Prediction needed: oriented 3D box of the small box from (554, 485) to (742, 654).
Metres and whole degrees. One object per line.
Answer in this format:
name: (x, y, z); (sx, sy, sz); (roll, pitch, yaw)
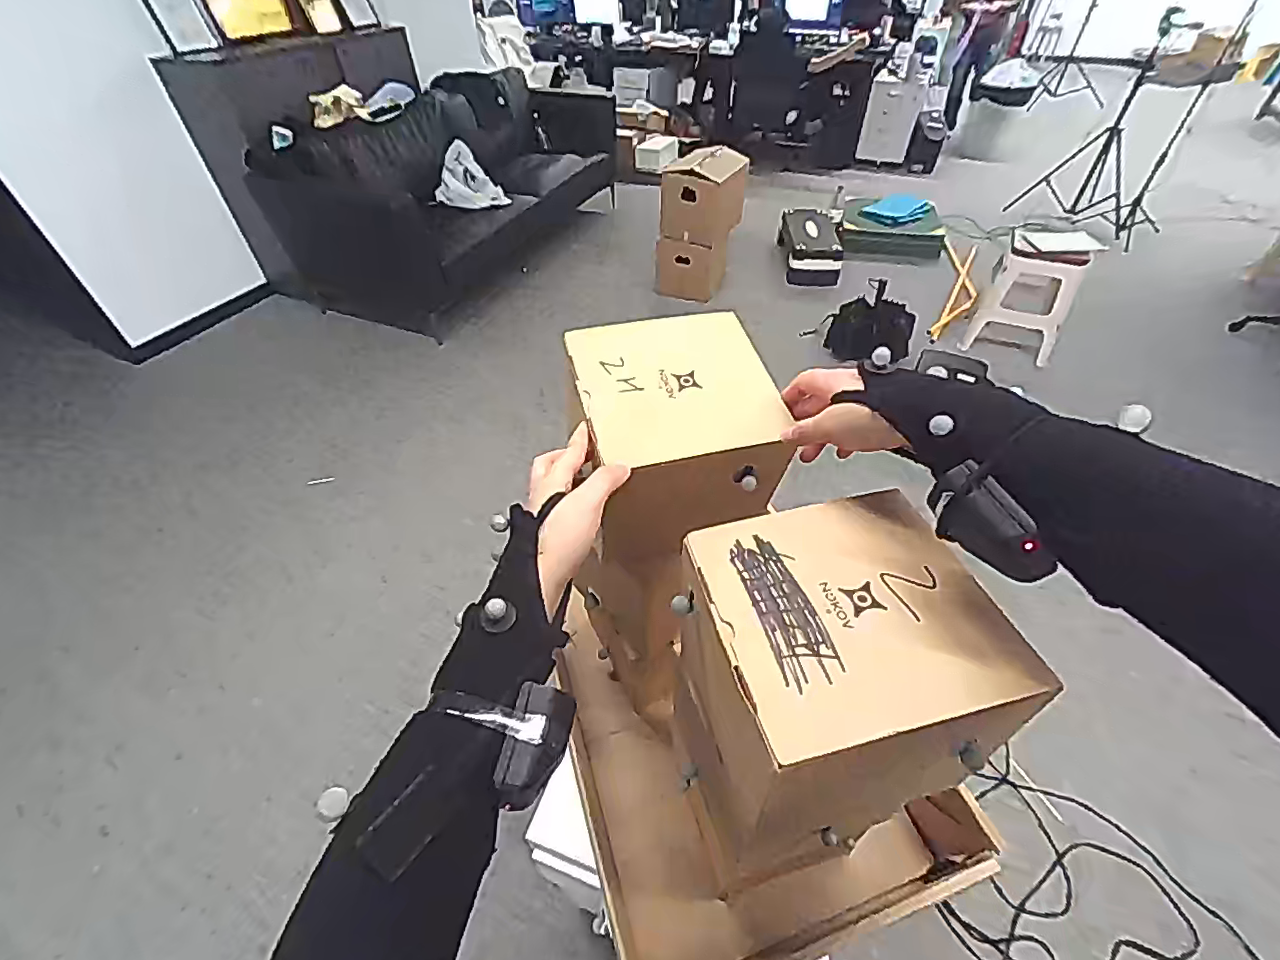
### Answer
small box: (0.015, 0.086, 0.705); (0.179, 0.176, 0.168); (-36, 53, -26)

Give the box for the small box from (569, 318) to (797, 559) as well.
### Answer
small box: (0.029, -0.039, 0.559); (0.179, 0.176, 0.168); (-11, 57, -12)

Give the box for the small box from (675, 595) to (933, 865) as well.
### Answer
small box: (0.140, 0.246, 0.535); (0.179, 0.176, 0.168); (-14, 44, -9)
